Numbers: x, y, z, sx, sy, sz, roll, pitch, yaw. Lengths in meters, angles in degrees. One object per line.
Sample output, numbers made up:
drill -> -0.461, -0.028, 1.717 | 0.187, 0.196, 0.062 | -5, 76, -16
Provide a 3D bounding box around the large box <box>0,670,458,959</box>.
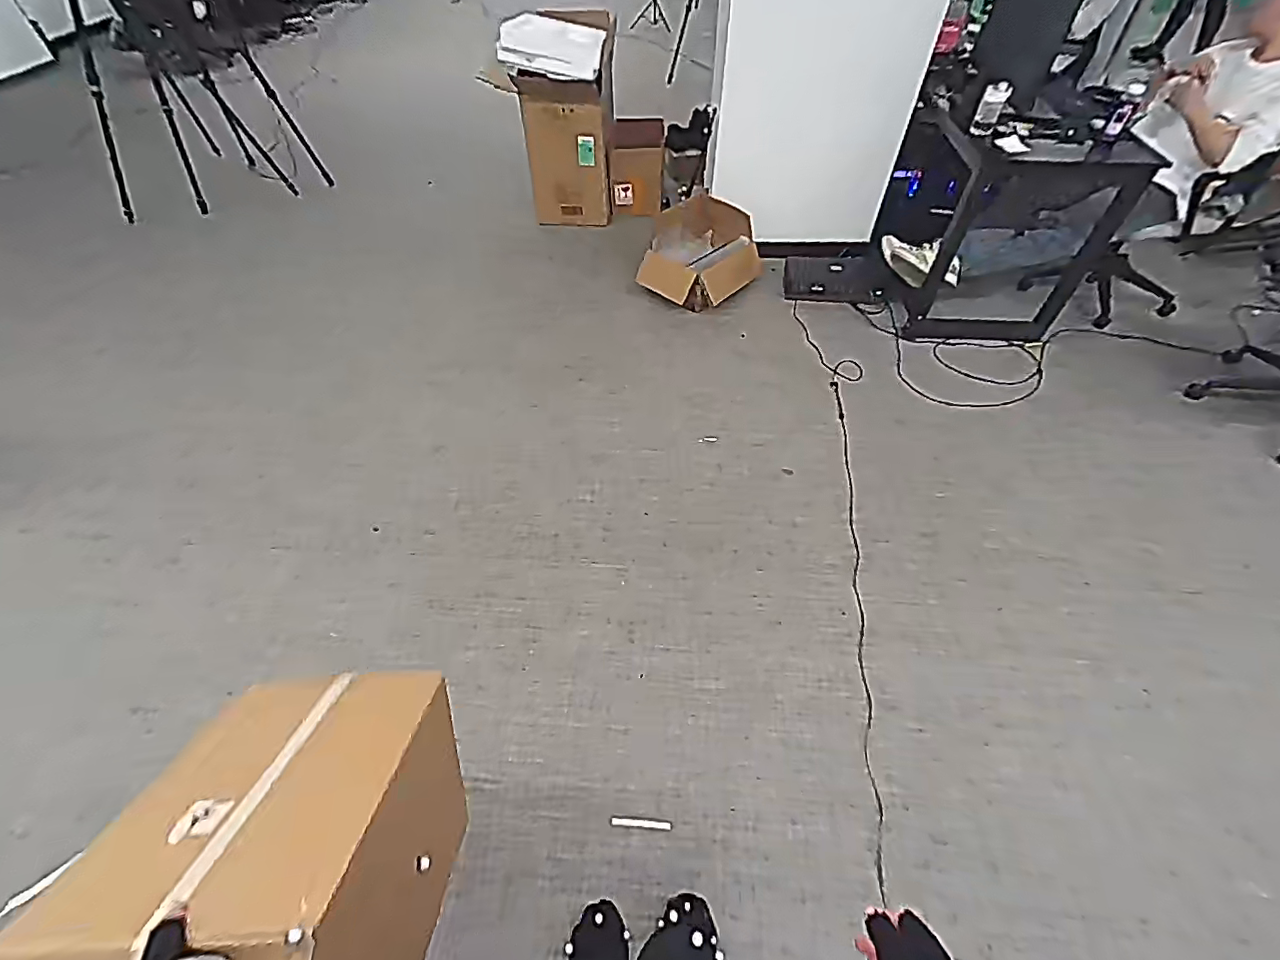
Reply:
large box -> -0.473, 0.526, 0.755 | 0.320, 0.320, 0.408 | -4, 18, -2
